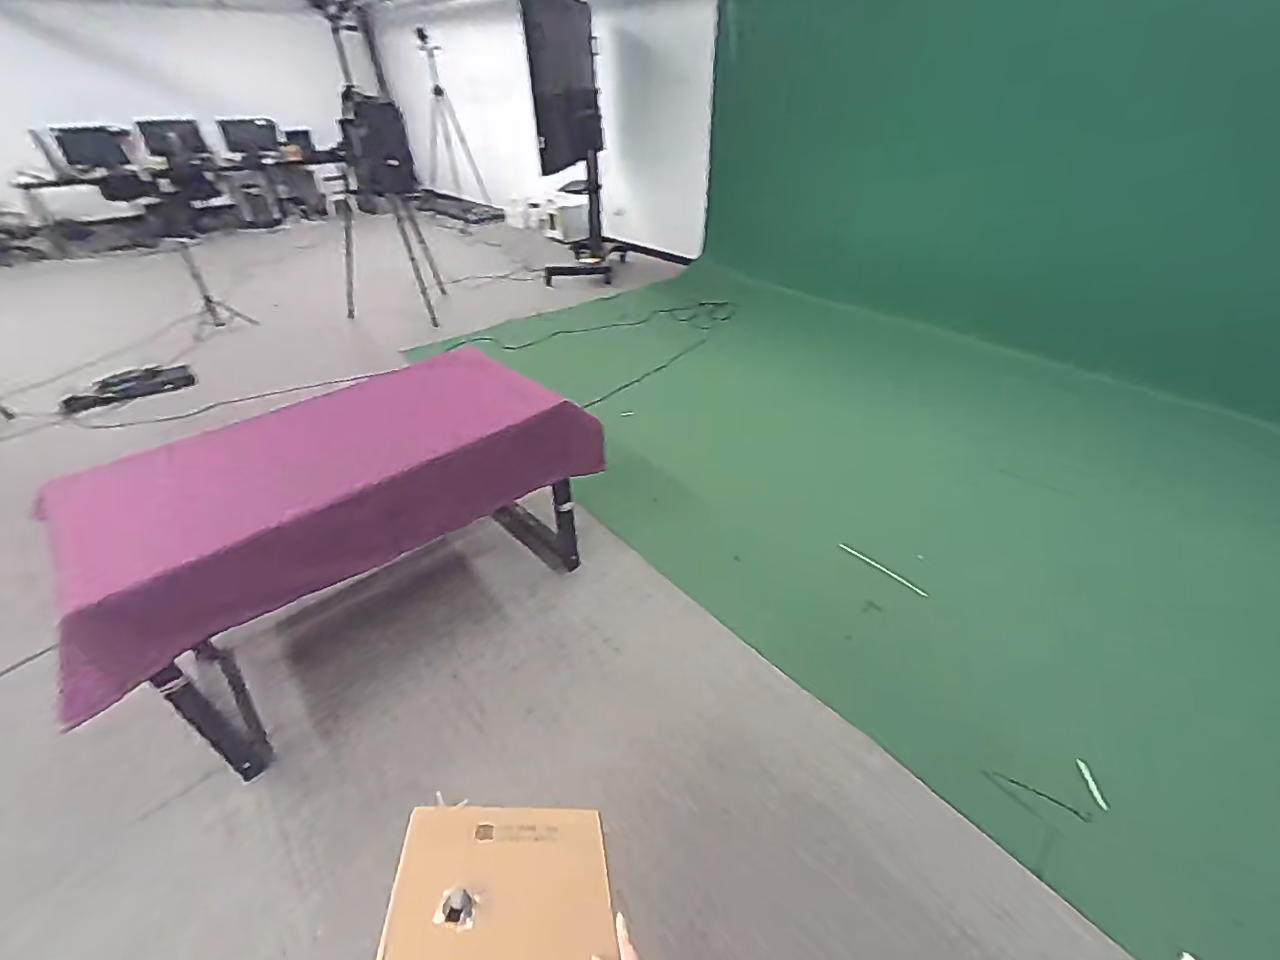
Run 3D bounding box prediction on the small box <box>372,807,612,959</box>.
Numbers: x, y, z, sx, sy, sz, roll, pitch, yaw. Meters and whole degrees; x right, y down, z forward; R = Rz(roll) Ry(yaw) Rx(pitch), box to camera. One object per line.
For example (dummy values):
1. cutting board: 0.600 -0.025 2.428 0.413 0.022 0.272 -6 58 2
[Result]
1. small box: -0.128 0.395 0.431 0.168 0.179 0.176 11 13 -14
